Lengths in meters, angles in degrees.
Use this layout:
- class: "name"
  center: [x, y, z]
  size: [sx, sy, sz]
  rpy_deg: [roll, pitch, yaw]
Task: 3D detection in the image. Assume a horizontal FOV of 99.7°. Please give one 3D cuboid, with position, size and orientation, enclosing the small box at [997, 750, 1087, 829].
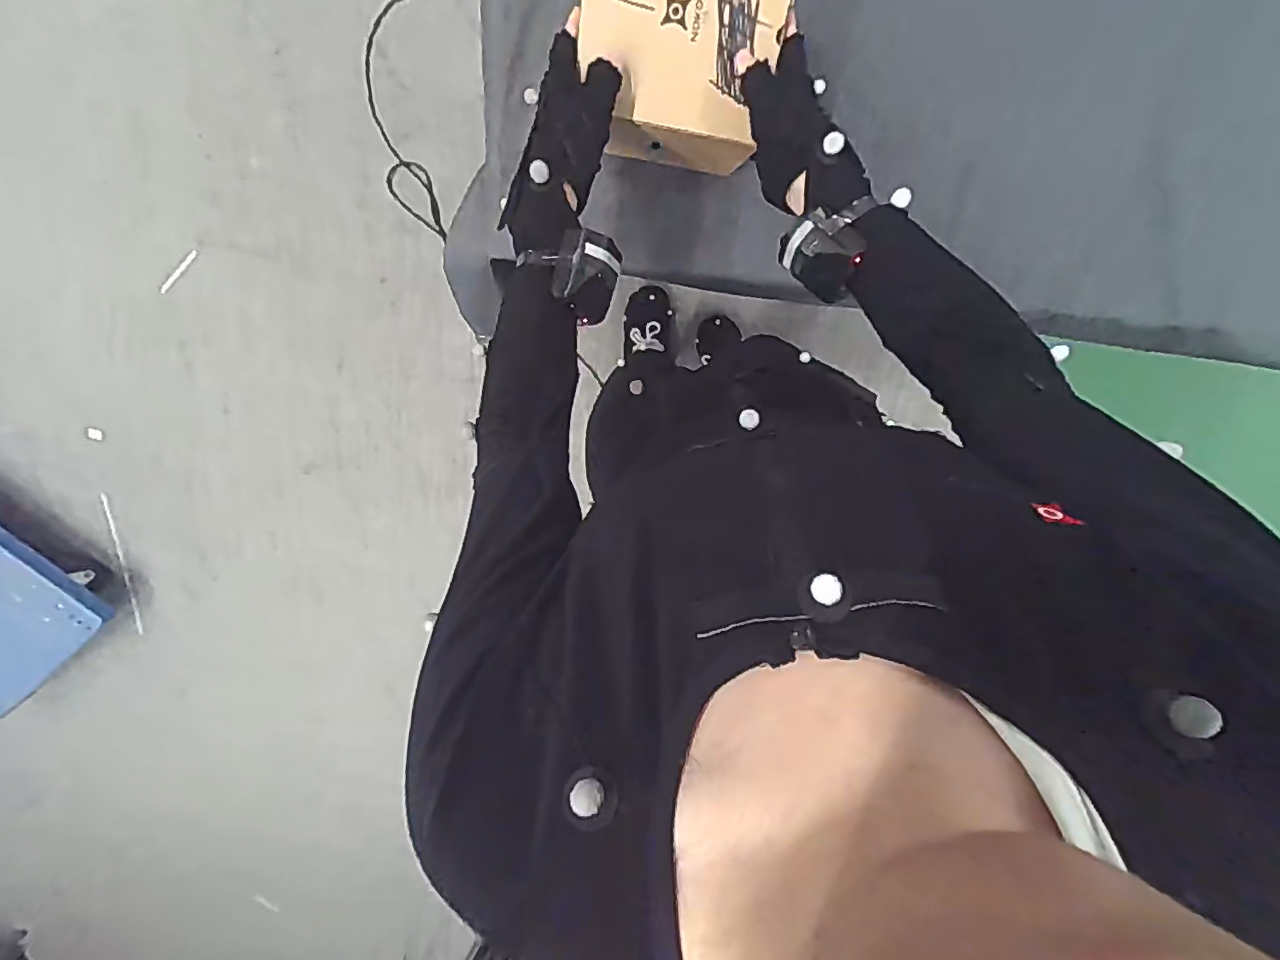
- class: "small box"
  center: [1.429, 1.108, 1.938]
  size: [0.168, 0.176, 0.179]
  rpy_deg: [7, 111, -5]

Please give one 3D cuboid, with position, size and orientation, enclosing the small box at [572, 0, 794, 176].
- class: "small box"
  center: [0.035, -0.411, 0.529]
  size: [0.179, 0.176, 0.168]
  rpy_deg: [8, 110, -5]
